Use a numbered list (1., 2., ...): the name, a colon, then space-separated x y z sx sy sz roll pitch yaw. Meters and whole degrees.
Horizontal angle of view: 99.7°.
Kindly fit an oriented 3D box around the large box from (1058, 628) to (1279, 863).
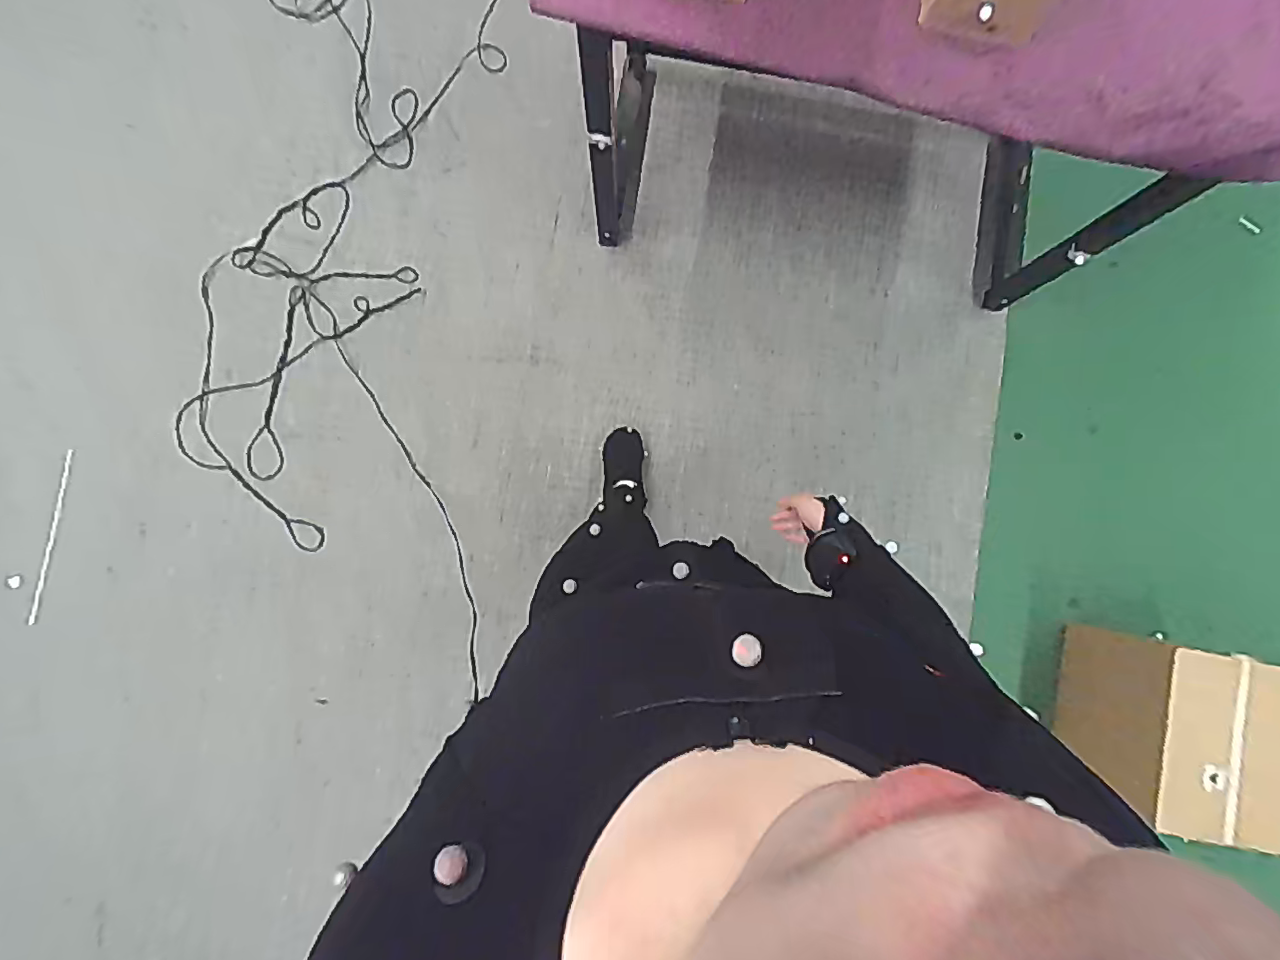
1. large box: 1.296 0.609 1.309 0.320 0.320 0.408 11 86 0

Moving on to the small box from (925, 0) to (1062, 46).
1. small box: 0.525 -0.766 0.750 0.168 0.176 0.179 11 86 0
